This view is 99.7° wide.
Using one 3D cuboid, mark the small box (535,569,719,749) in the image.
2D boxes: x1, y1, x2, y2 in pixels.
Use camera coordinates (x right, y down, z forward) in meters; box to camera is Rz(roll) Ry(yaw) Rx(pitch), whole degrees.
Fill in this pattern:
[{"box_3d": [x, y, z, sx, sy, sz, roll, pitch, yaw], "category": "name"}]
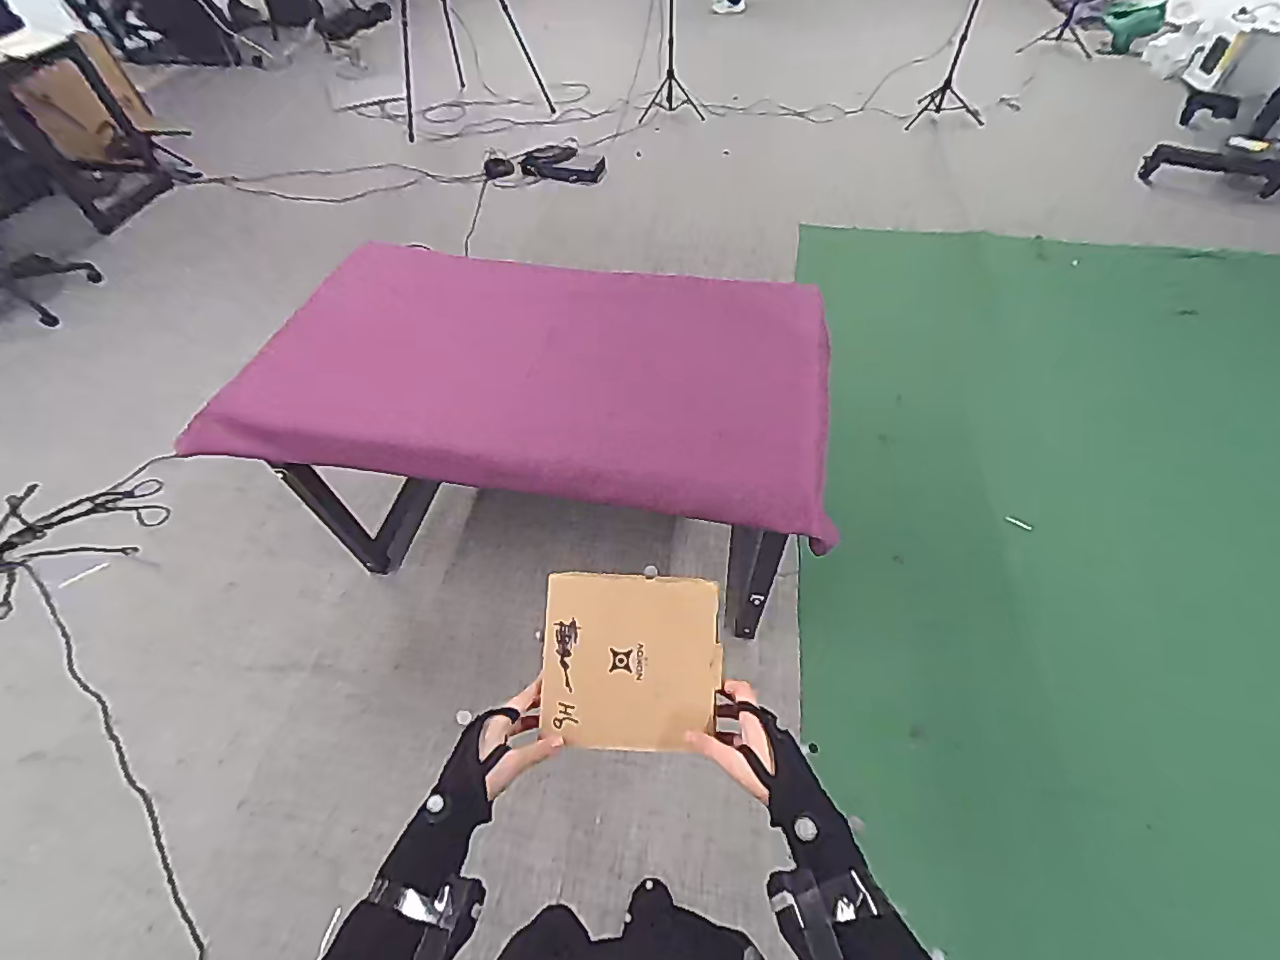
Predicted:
[{"box_3d": [-0.010, 0.188, 0.612, 0.179, 0.176, 0.168, 2, 79, 2], "category": "small box"}]
